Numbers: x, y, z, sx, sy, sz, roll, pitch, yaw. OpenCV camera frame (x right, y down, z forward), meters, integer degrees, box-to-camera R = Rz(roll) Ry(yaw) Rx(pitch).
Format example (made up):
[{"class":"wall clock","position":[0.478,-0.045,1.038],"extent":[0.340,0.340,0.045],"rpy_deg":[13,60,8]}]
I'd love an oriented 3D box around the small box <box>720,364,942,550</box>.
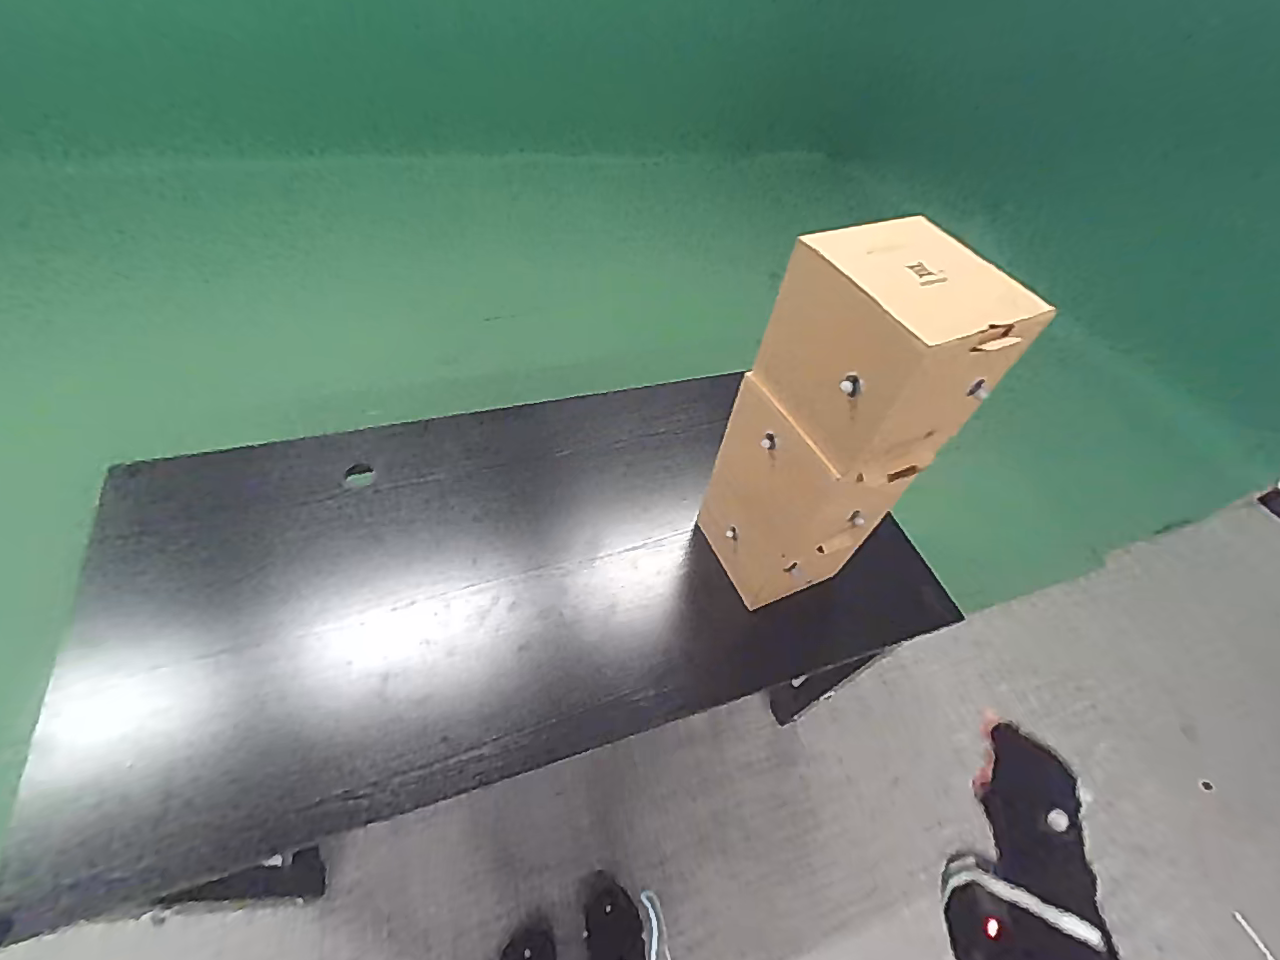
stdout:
[{"class":"small box","position":[0.223,-0.042,0.686],"extent":[0.168,0.176,0.179],"rpy_deg":[-19,58,-20]}]

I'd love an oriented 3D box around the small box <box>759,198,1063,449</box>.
[{"class":"small box","position":[0.249,-0.151,0.545],"extent":[0.168,0.176,0.179],"rpy_deg":[-19,57,-21]}]
